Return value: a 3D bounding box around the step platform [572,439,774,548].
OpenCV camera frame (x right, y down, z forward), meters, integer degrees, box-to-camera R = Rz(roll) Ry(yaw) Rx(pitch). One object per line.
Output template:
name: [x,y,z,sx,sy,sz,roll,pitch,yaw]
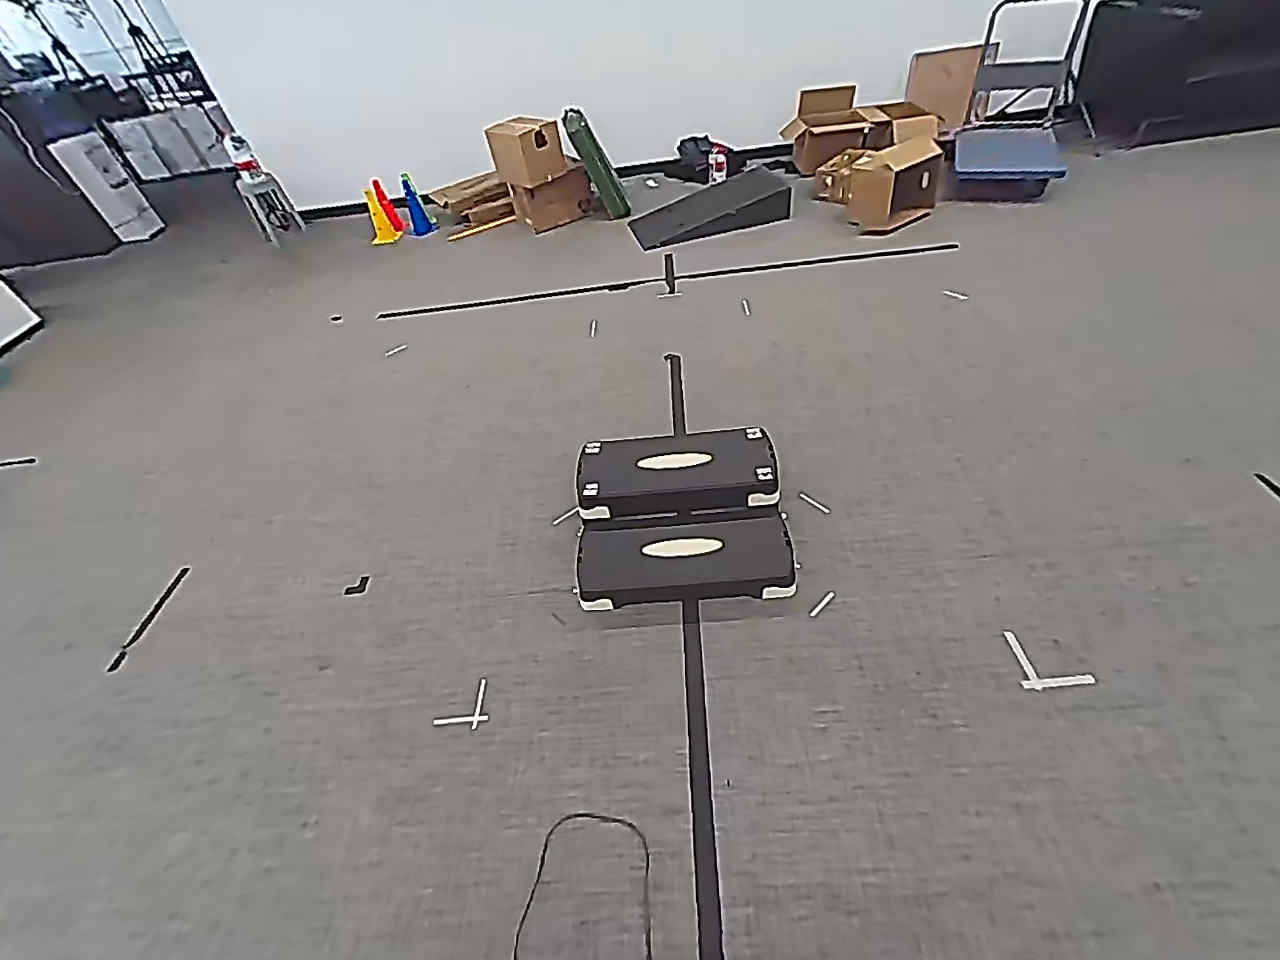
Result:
step platform: [0.109,0.040,1.864,0.684,0.204,0.286,-5,46,3]
